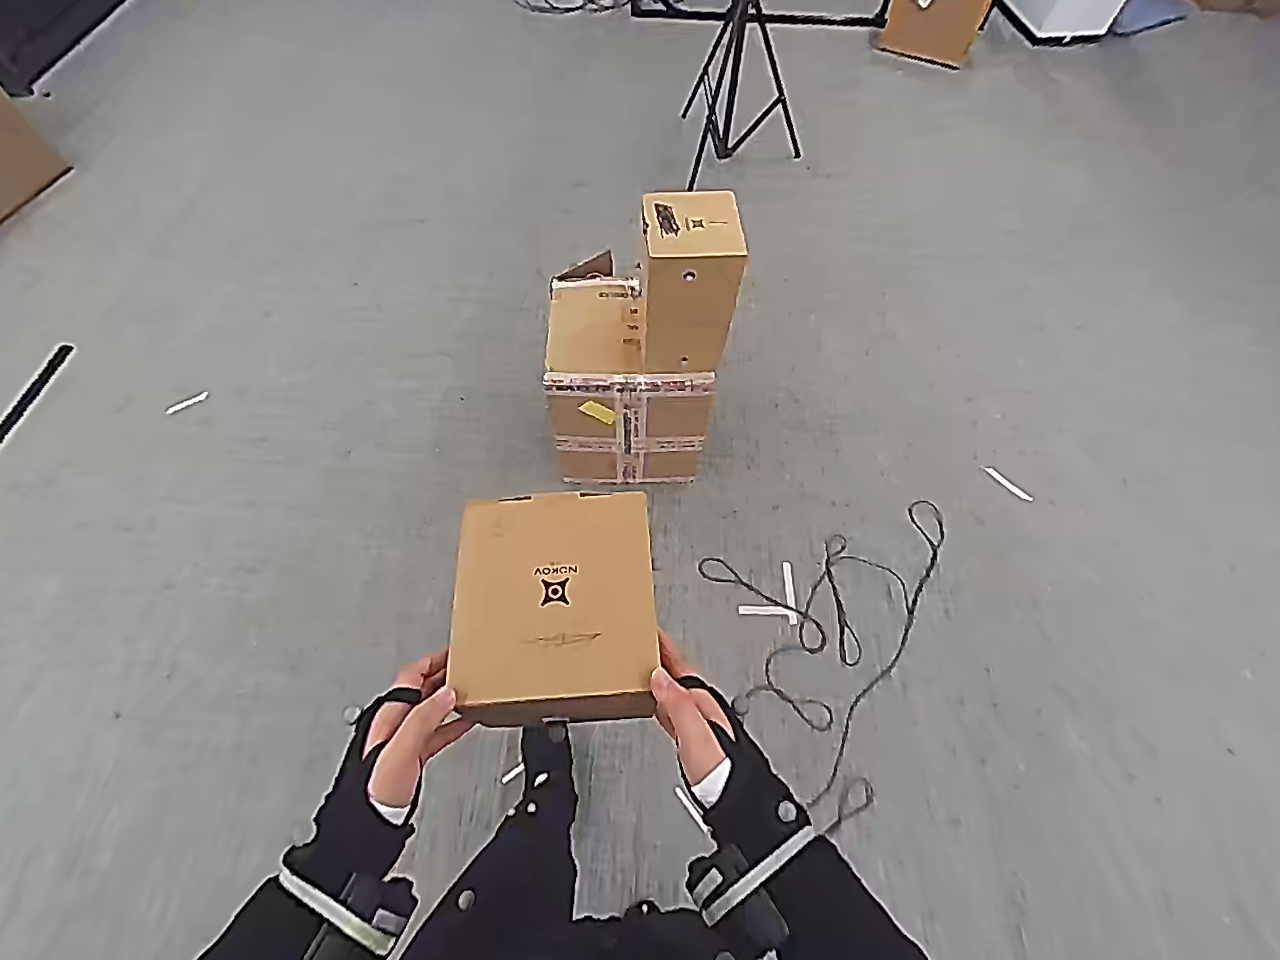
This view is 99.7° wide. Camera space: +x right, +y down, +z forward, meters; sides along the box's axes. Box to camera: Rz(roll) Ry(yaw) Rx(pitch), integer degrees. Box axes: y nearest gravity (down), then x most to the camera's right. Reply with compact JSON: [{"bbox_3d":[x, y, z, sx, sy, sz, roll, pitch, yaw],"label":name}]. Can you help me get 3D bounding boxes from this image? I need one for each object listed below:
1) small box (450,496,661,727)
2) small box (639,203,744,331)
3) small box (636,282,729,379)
[{"bbox_3d":[-0.073,0.132,0.528,0.168,0.176,0.179,-3,60,-3],"label":"small box"},{"bbox_3d":[0.090,-0.407,1.049,0.179,0.176,0.168,-4,65,-4],"label":"small box"},{"bbox_3d":[0.087,-0.340,1.200,0.179,0.176,0.168,-4,64,-4],"label":"small box"}]
